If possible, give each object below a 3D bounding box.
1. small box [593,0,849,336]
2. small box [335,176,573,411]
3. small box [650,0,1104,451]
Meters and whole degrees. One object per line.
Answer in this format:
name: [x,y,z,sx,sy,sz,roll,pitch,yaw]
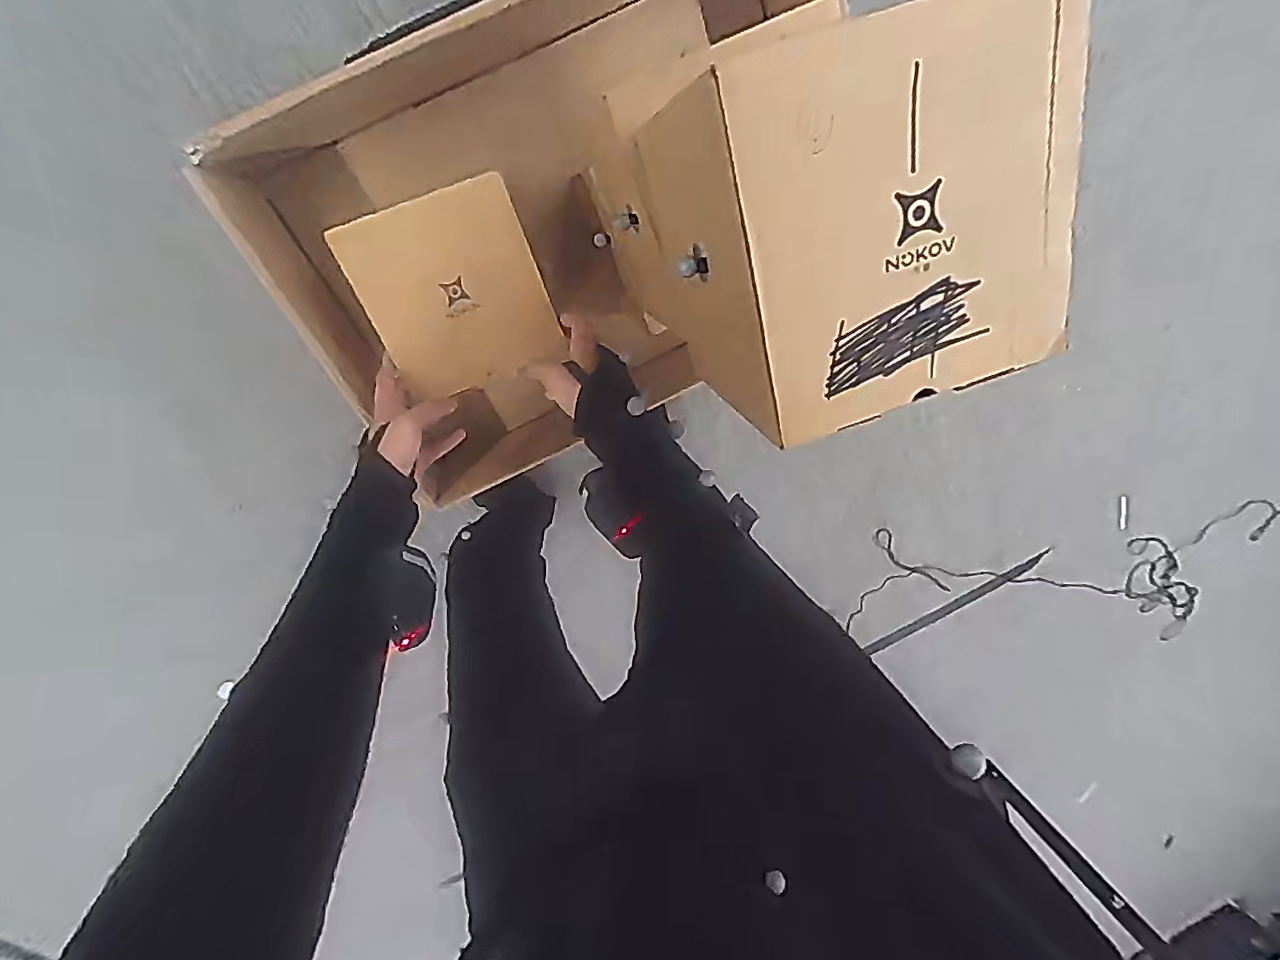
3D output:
small box: [0.070,-0.239,0.454,0.168,0.176,0.179,-24,117,0]
small box: [-0.189,-0.200,0.584,0.168,0.176,0.179,-22,117,-6]
small box: [0.116,-0.145,0.322,0.168,0.176,0.179,-19,116,-3]
